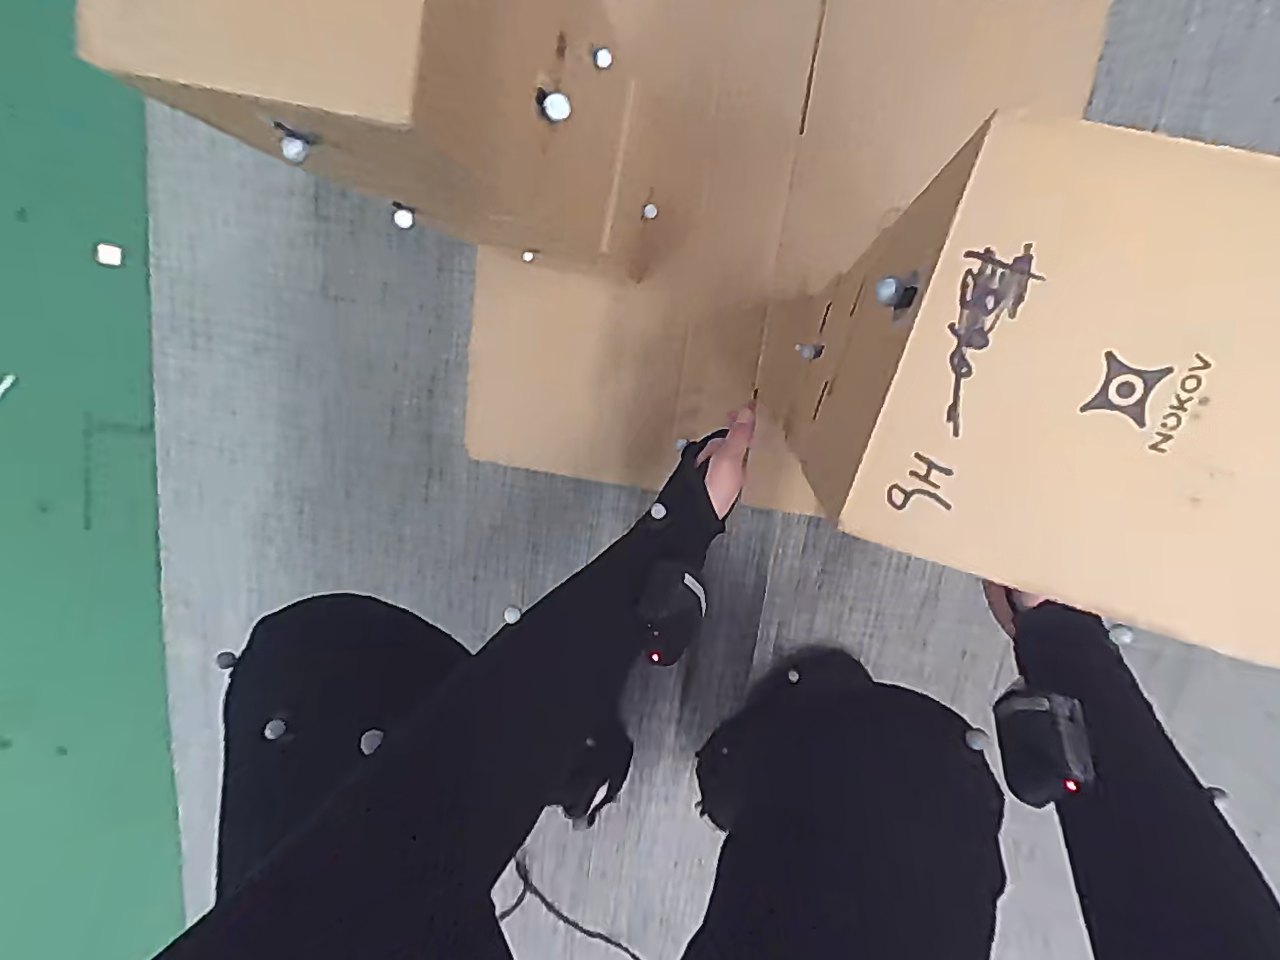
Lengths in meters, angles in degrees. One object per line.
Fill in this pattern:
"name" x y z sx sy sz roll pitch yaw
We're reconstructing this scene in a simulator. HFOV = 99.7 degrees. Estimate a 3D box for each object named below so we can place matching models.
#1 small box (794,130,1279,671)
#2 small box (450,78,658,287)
"small box" 0.194 -0.040 0.280 0.179 0.176 0.168 18 103 8
"small box" -0.089 -0.331 0.623 0.179 0.176 0.168 13 103 8
